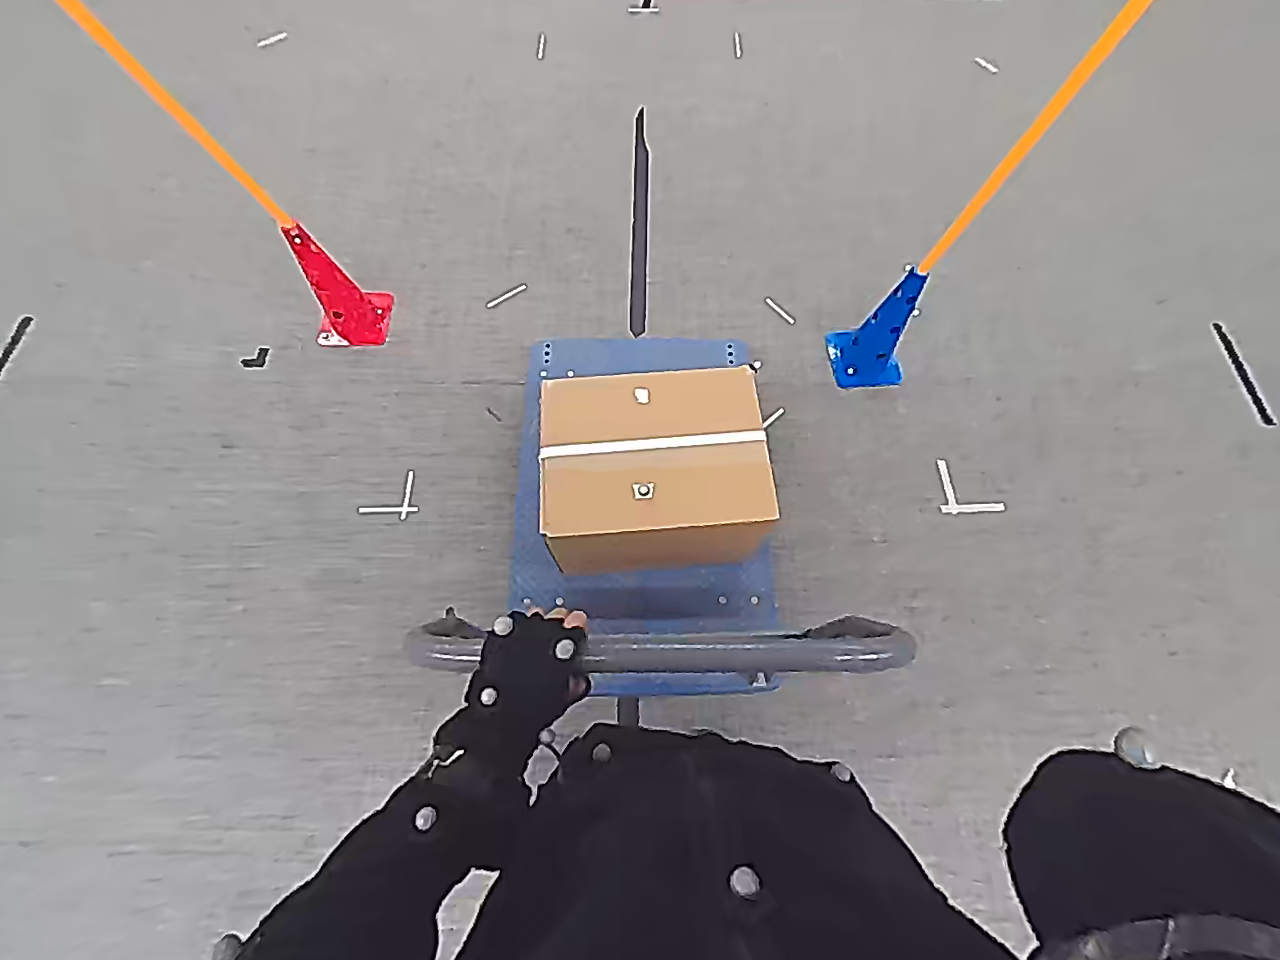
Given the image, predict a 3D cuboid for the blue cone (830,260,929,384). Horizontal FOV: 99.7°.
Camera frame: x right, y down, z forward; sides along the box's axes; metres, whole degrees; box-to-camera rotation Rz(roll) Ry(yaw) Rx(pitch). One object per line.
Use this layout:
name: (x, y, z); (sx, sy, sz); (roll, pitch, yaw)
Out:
blue cone: (0.682, -0.437, 1.475); (0.193, 0.380, 0.192); (-3, 66, -3)
